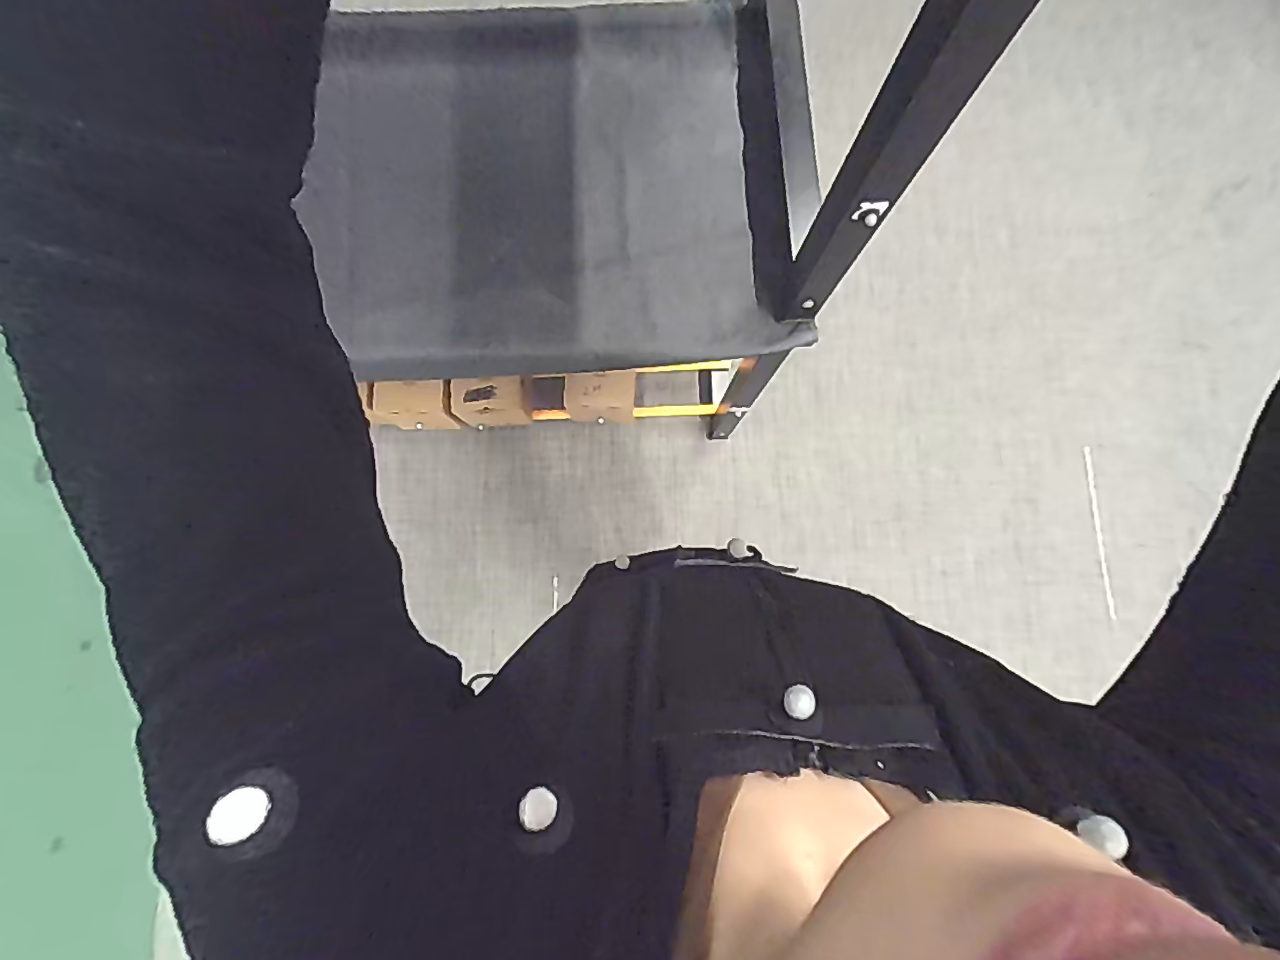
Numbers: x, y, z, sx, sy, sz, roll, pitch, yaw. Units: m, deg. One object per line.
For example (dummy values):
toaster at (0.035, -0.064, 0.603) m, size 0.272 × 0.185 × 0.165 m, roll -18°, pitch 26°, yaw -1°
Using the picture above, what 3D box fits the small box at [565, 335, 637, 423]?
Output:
small box at (-0.095, -0.254, 1.390) m, size 0.168 × 0.176 × 0.179 m, roll 3°, pitch 83°, yaw 1°
